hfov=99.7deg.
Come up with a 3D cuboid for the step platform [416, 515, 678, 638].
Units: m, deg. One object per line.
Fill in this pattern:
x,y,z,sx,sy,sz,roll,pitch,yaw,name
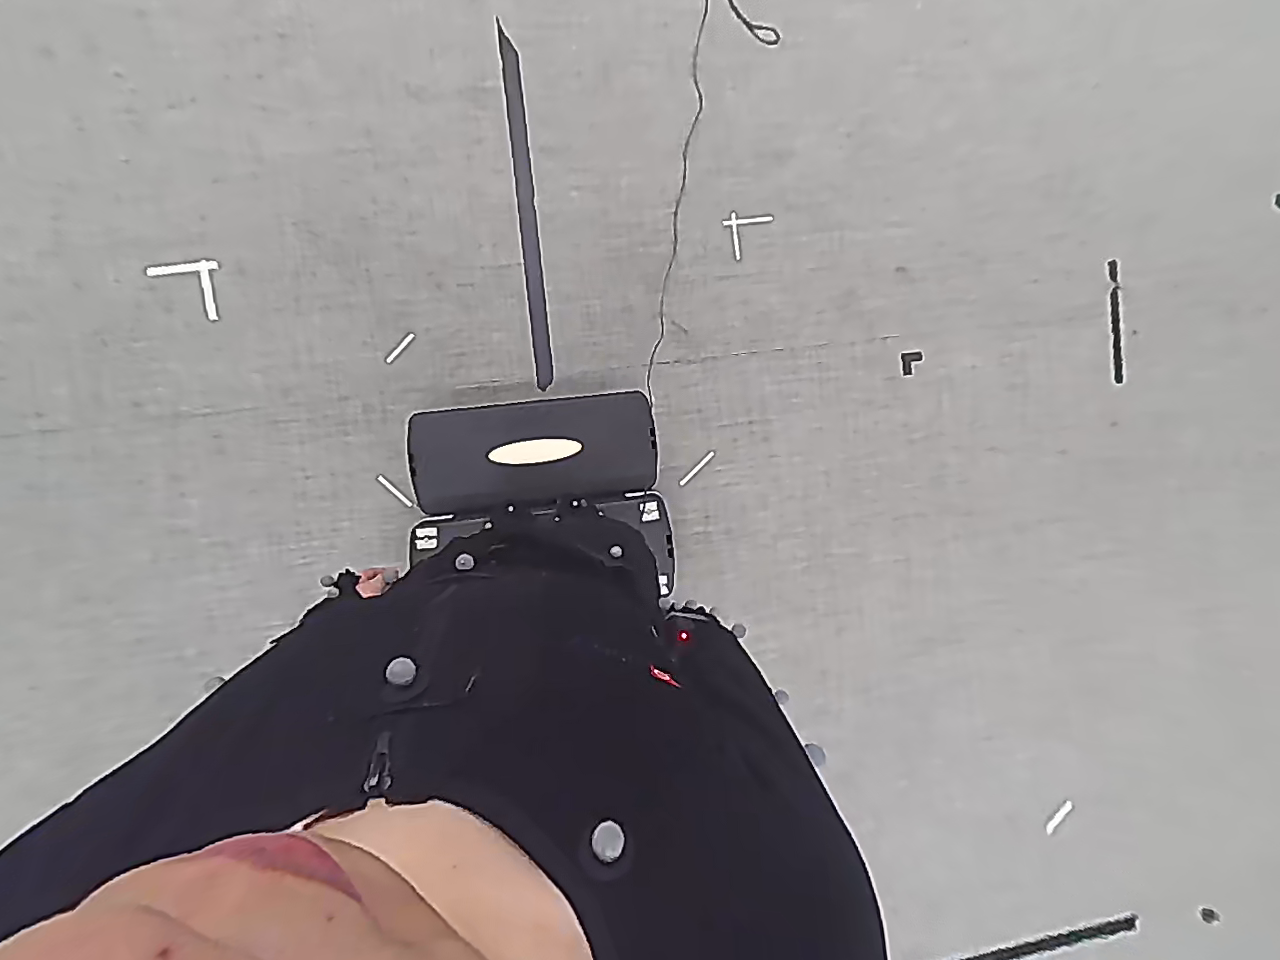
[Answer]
-0.238,0.253,1.461,0.684,0.204,0.286,-2,90,-5,step platform
